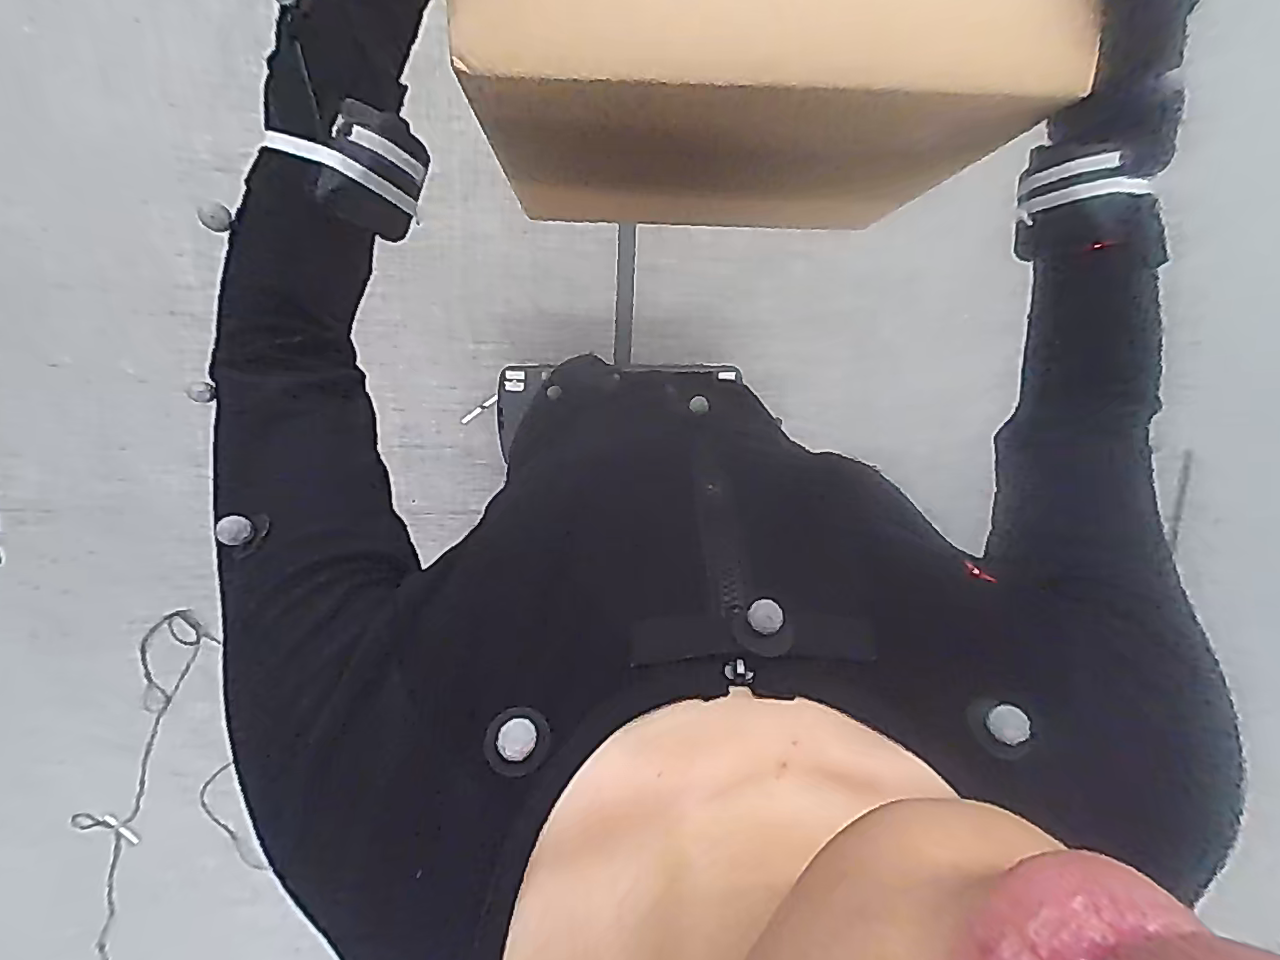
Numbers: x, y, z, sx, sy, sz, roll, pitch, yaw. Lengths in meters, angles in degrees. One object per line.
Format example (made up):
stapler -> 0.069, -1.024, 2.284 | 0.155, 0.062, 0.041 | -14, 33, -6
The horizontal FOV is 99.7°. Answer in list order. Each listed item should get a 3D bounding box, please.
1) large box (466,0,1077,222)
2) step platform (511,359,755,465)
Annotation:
large box -> 0.078, -0.433, 0.471 | 0.408, 0.320, 0.320 | 0, 101, -4
step platform -> -0.019, -0.197, 1.544 | 0.684, 0.204, 0.286 | -1, 100, -4
